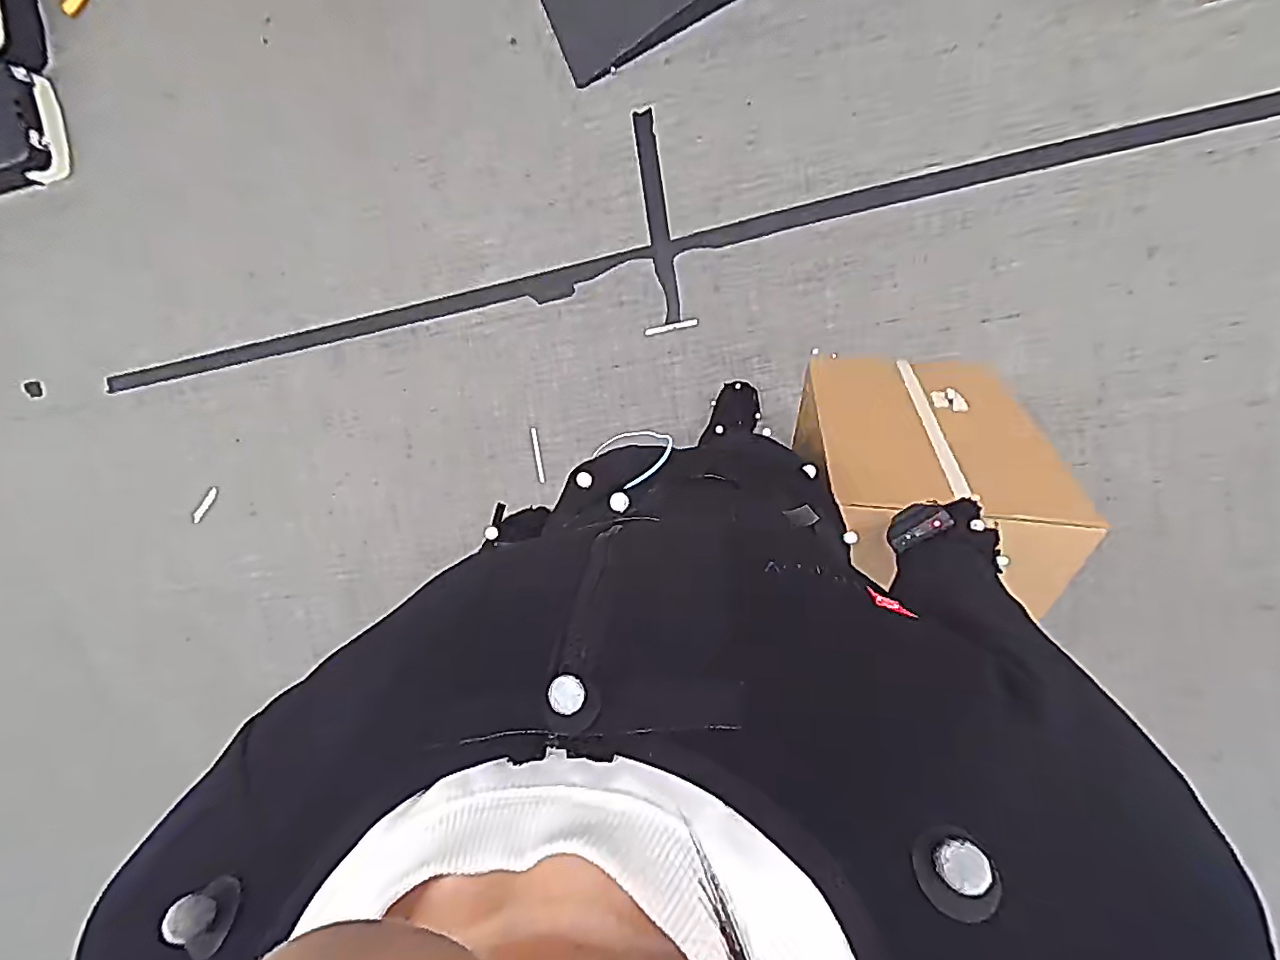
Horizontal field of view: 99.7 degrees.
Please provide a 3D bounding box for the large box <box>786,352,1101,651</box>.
[{"bbox_3d":[0.434,0.022,0.908,0.320,0.408,0.320,5,130,6],"label":"large box"}]
